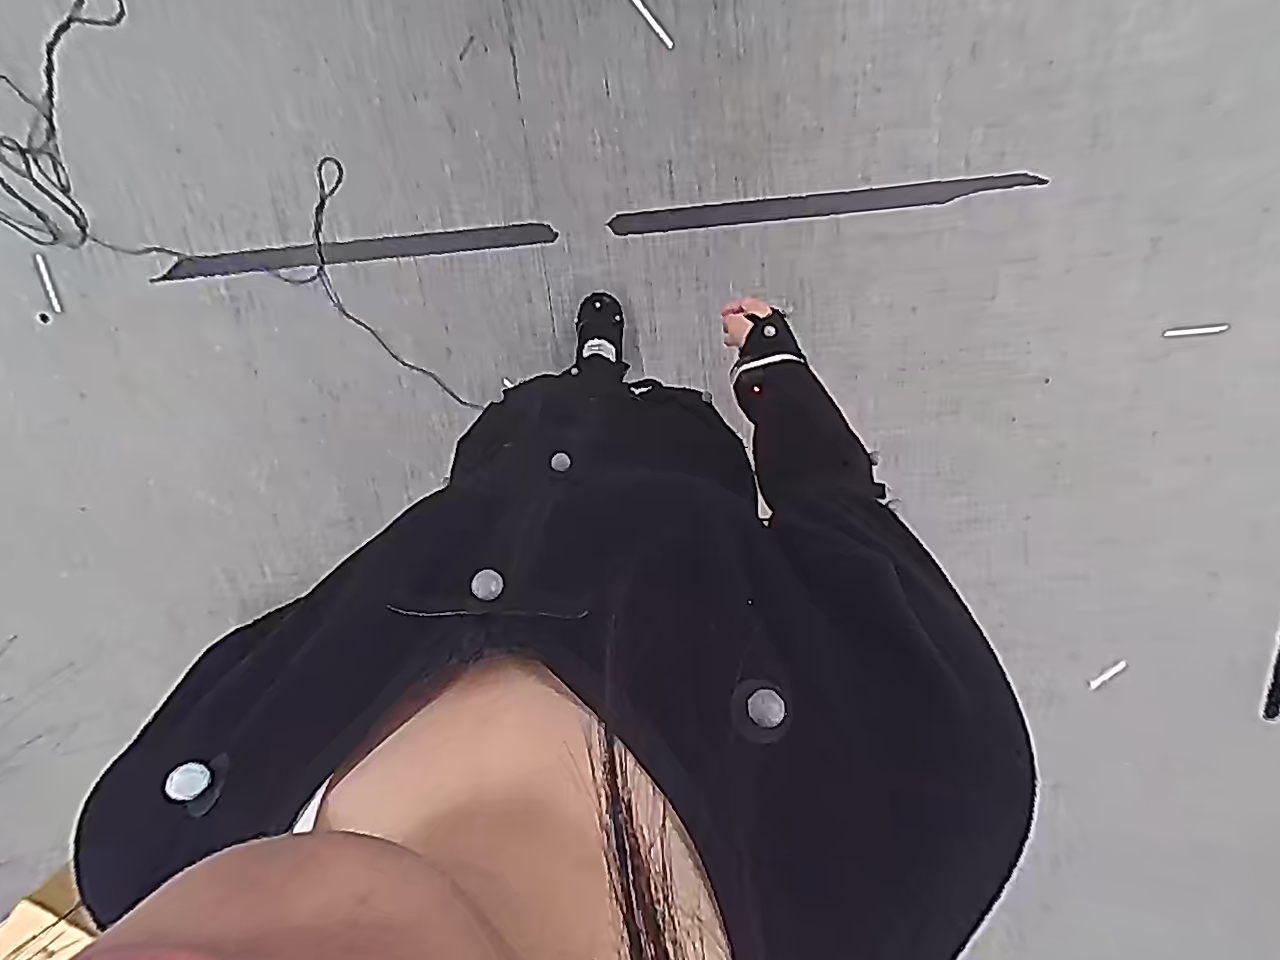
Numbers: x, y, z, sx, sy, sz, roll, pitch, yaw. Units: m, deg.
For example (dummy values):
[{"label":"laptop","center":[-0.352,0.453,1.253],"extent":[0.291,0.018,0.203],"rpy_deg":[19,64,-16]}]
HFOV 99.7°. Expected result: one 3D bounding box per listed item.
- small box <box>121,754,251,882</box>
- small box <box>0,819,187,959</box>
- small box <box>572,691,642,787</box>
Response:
[{"label":"small box","center":[-0.977,0.727,1.136],"extent":[0.168,0.176,0.179],"rpy_deg":[42,102,-10]},{"label":"small box","center":[-0.980,0.765,0.977],"extent":[0.168,0.176,0.179],"rpy_deg":[42,102,-9]},{"label":"small box","center":[-0.093,0.767,1.610],"extent":[0.168,0.176,0.179],"rpy_deg":[-16,104,3]}]
